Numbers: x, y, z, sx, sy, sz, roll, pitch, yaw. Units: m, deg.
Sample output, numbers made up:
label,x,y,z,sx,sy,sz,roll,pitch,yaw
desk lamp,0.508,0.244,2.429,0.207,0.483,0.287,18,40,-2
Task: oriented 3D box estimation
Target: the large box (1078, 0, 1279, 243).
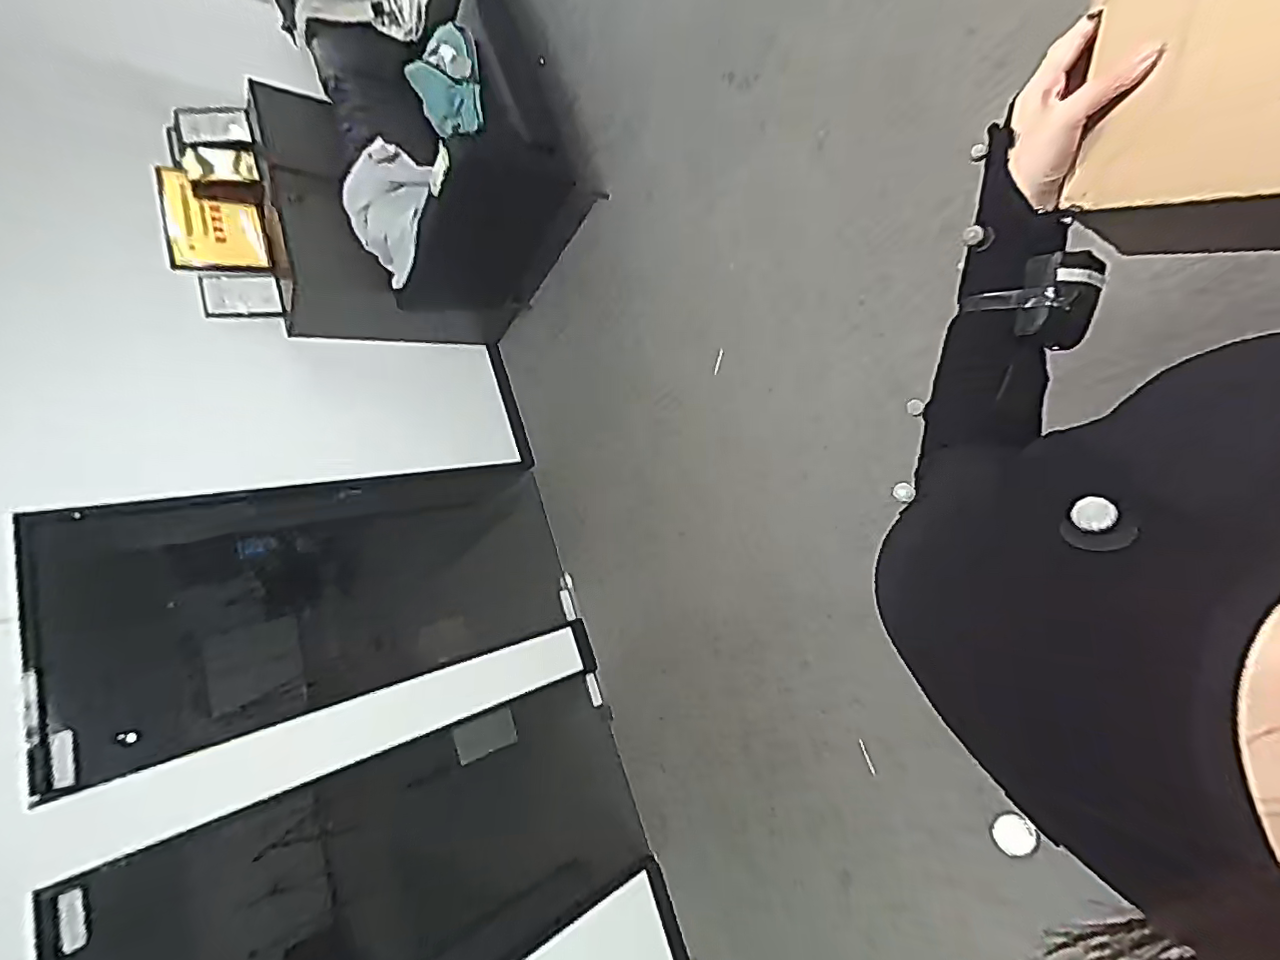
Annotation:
label,x,y,z,sx,sy,sz,roll,pitch,yaw
large box,0.572,-0.344,0.328,0.408,0.320,0.320,18,114,43
